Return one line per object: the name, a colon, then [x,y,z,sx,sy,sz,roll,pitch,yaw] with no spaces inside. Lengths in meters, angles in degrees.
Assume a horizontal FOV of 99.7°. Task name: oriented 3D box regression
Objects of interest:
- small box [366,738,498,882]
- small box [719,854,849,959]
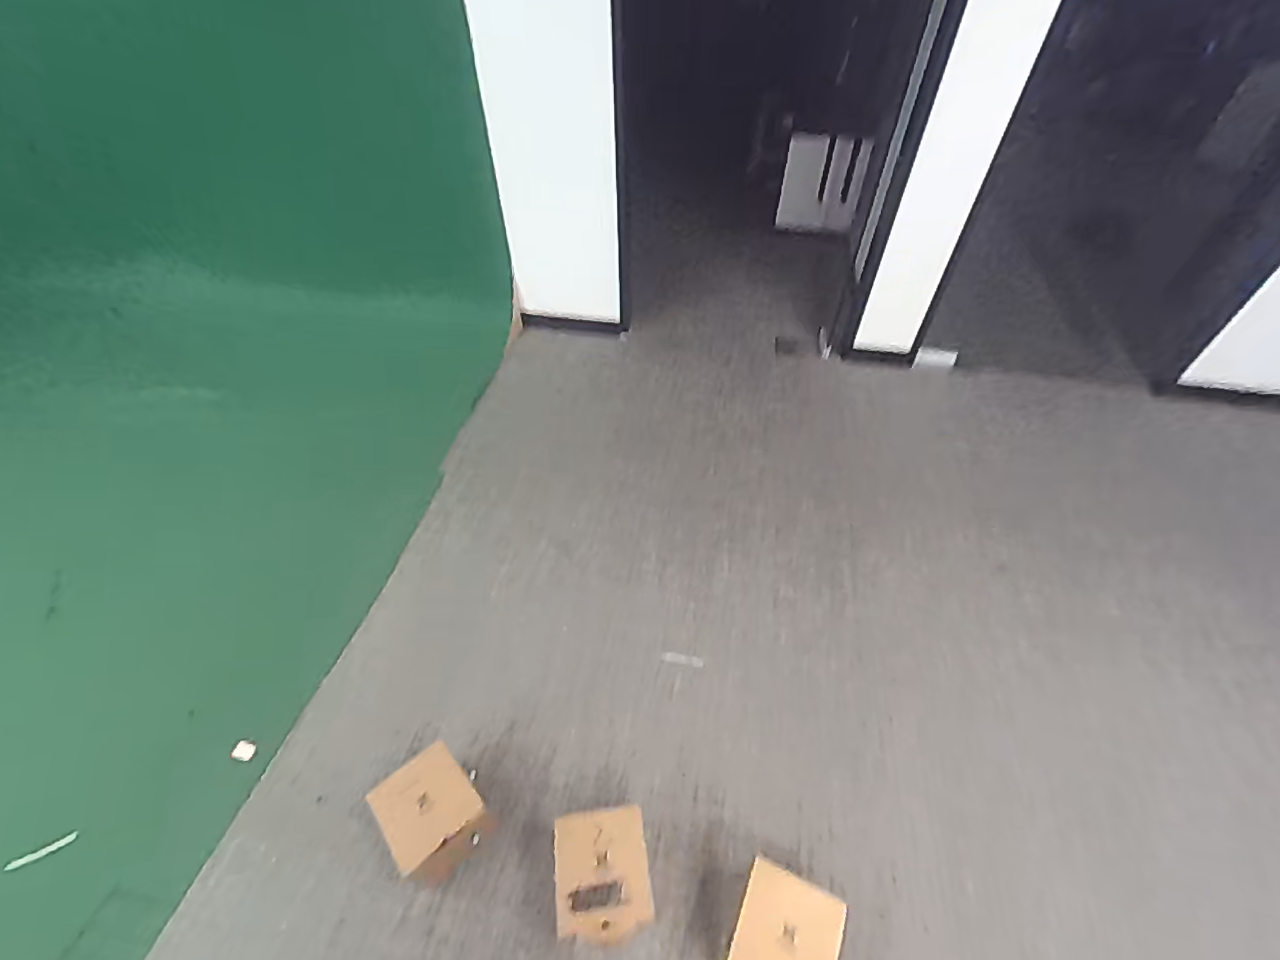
small box: [-0.407,0.663,1.082,0.168,0.176,0.179,-34,55,-28]
small box: [0.247,0.805,0.952,0.168,0.176,0.179,19,51,16]
